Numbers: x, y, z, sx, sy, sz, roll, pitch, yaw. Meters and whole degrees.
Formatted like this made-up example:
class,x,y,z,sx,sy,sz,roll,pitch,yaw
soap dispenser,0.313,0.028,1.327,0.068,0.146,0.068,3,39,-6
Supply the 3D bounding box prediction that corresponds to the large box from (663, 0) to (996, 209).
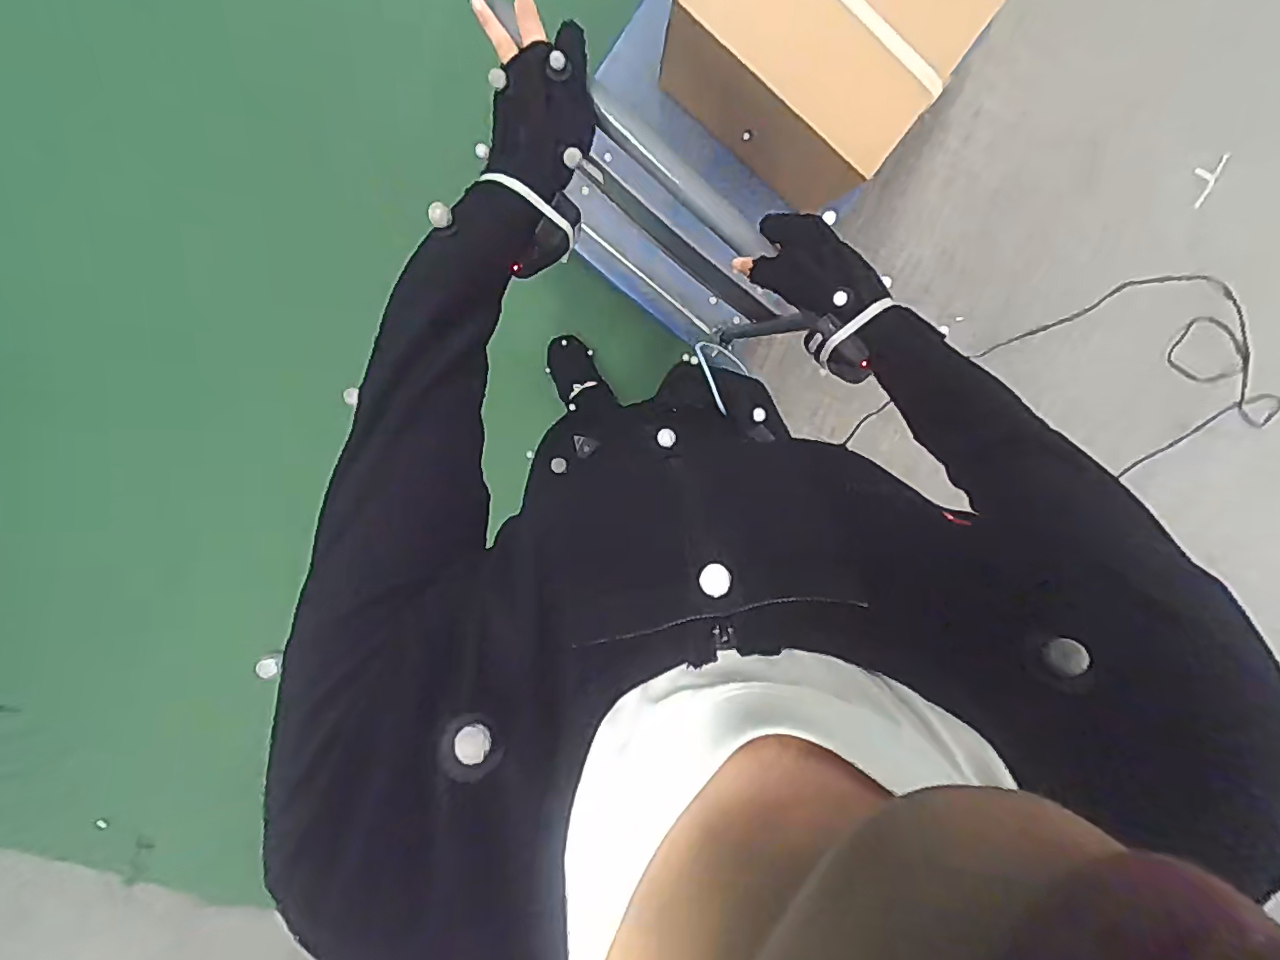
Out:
class,x,y,z,sx,sy,sz,roll,pitch,yaw
large box,0.294,-0.763,0.958,0.408,0.320,0.320,35,101,-11
